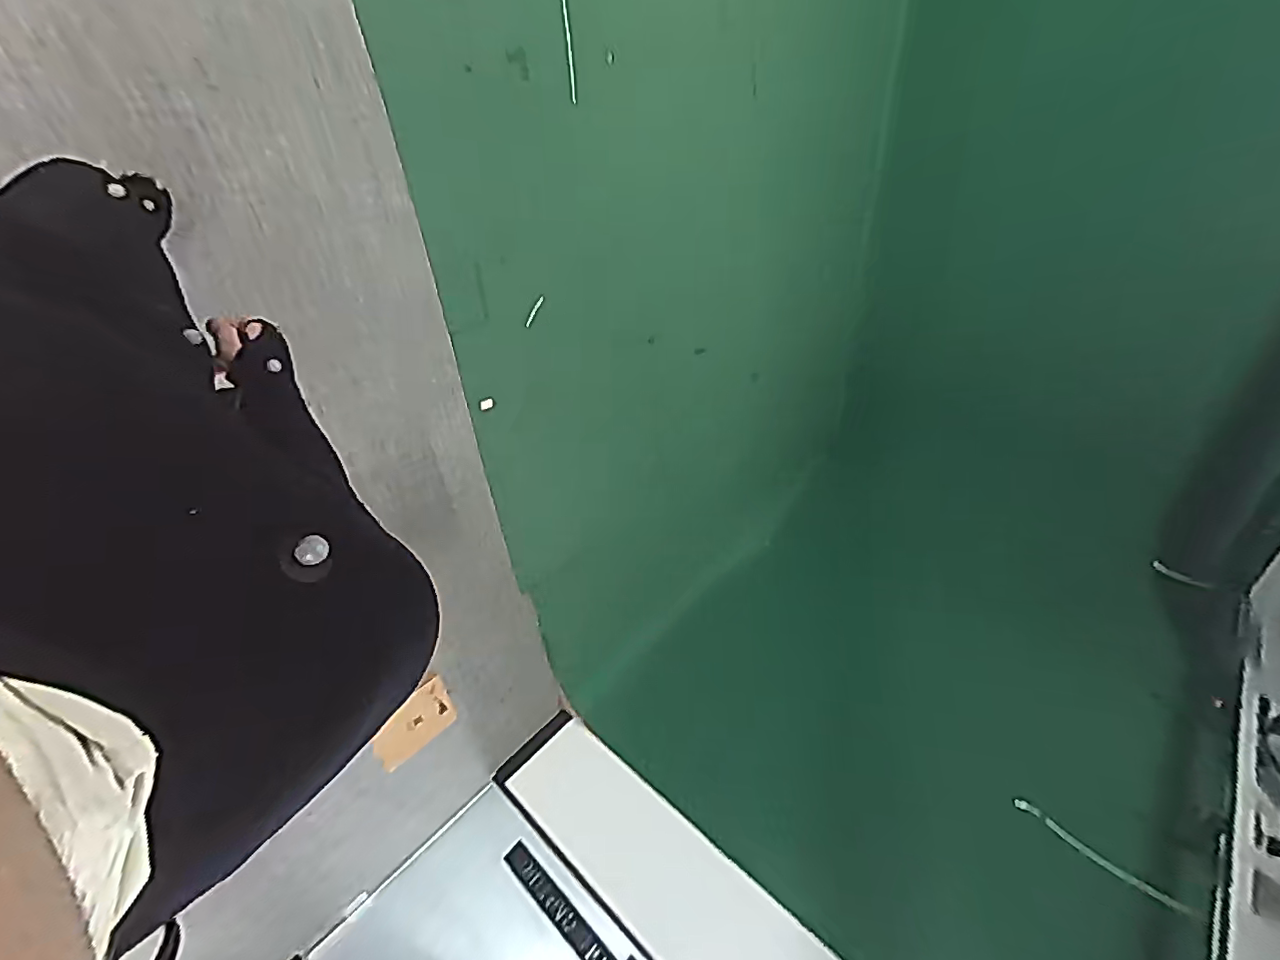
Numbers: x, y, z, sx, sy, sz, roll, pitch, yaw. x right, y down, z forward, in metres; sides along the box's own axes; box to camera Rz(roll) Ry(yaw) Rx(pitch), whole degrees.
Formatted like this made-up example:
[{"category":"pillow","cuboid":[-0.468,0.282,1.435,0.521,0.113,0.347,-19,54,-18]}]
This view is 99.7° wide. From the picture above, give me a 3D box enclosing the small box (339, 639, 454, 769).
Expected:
[{"category":"small box","cuboid":[-0.563,0.507,1.244,0.179,0.176,0.168,-31,132,-35]}]
